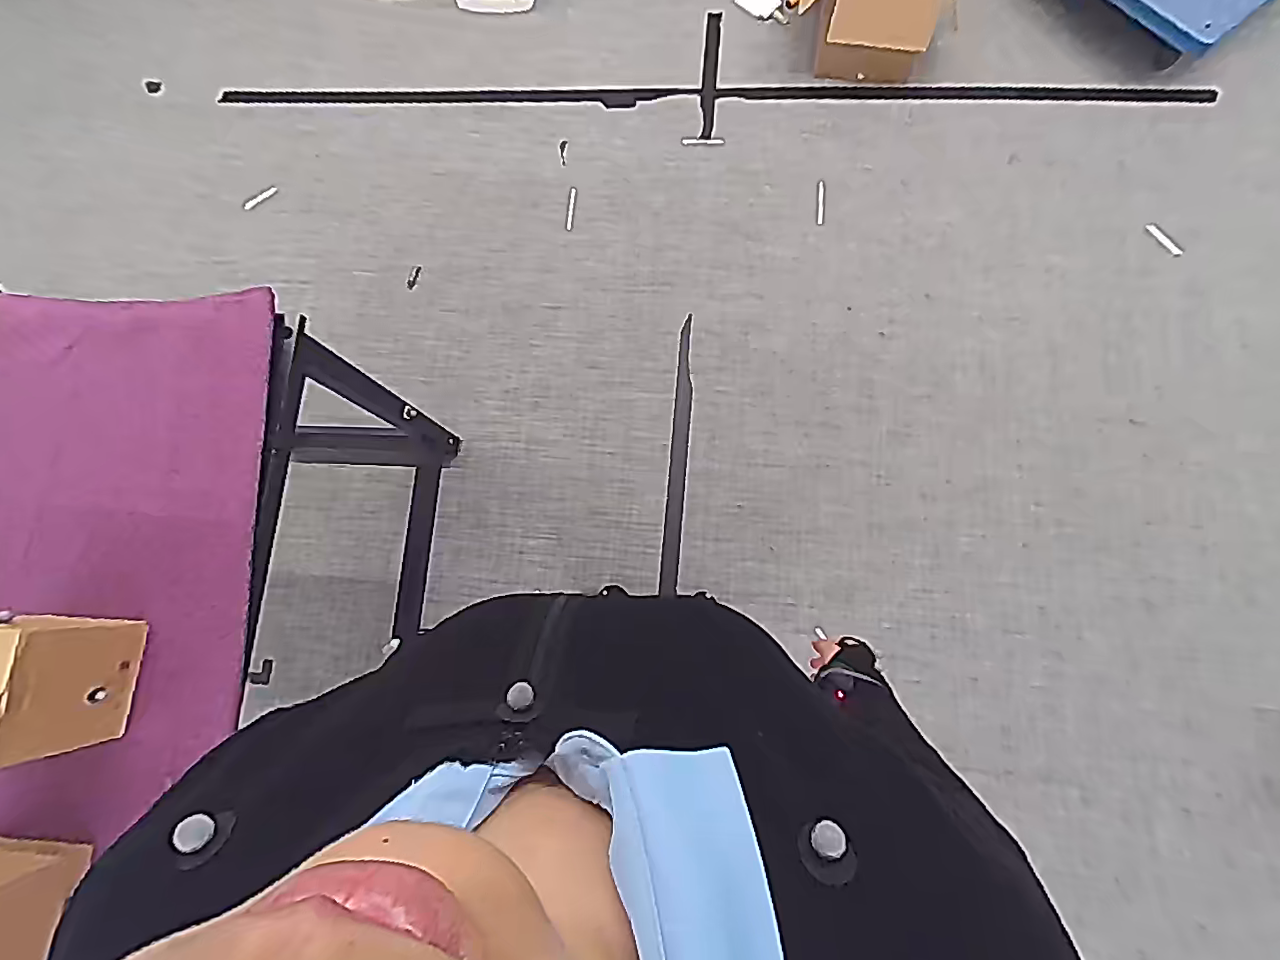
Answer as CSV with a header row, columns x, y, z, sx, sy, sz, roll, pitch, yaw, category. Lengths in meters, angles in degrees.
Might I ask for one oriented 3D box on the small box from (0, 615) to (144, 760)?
x,y,z,sx,sy,sz,roll,pitch,yaw,category
-0.848,0.274,0.734,0.179,0.176,0.168,3,78,4,small box
